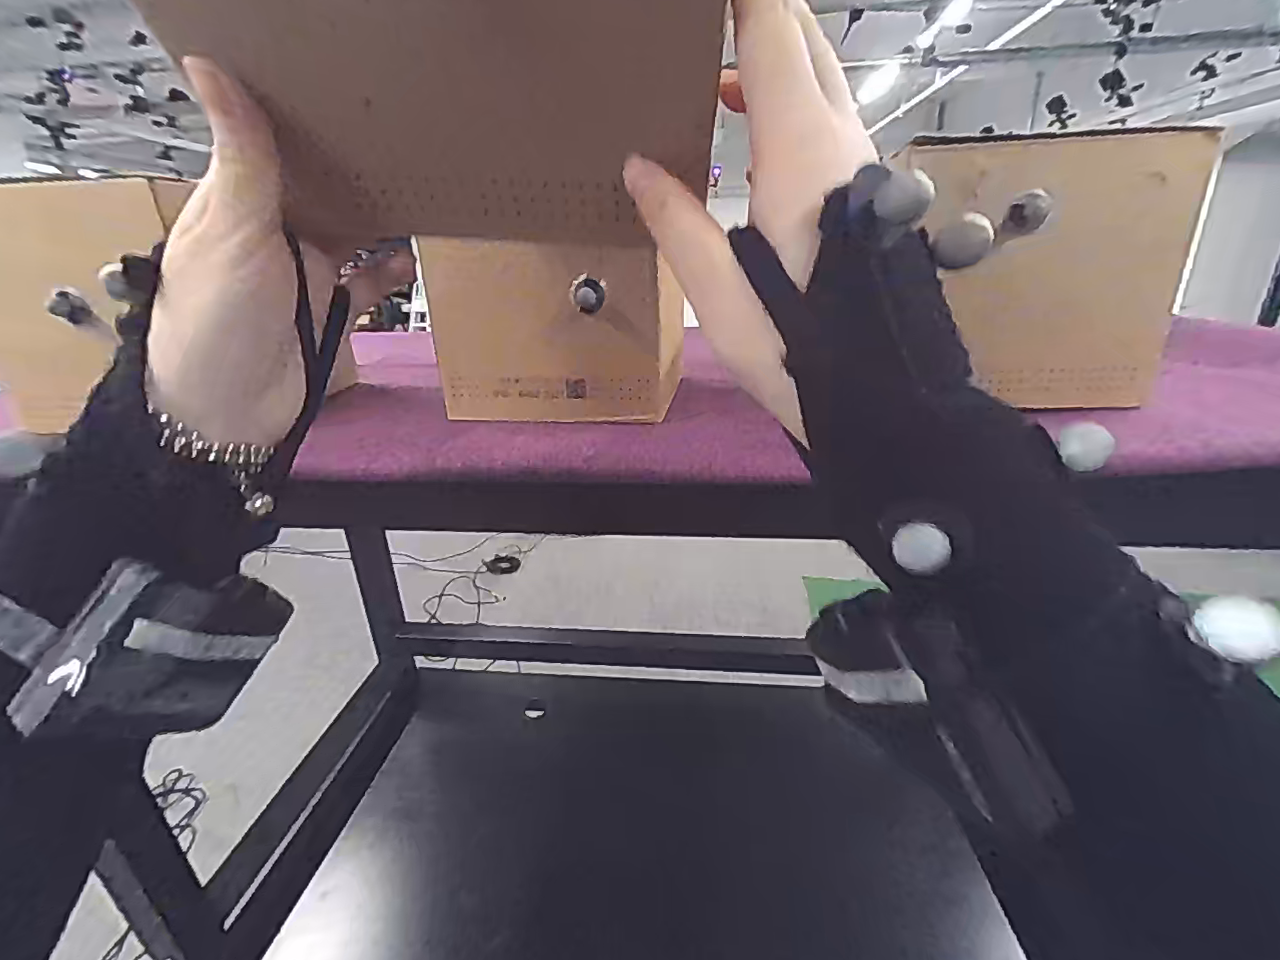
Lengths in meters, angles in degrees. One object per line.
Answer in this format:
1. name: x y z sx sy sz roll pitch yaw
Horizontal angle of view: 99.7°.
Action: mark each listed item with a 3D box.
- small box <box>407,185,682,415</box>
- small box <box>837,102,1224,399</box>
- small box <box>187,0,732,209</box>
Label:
1. small box: -0.055 -0.153 0.435 0.168 0.176 0.179 3 22 8
2. small box: 0.257 -0.158 0.412 0.179 0.176 0.168 0 20 5
3. small box: -0.054 -0.217 0.179 0.179 0.176 0.168 4 65 2
